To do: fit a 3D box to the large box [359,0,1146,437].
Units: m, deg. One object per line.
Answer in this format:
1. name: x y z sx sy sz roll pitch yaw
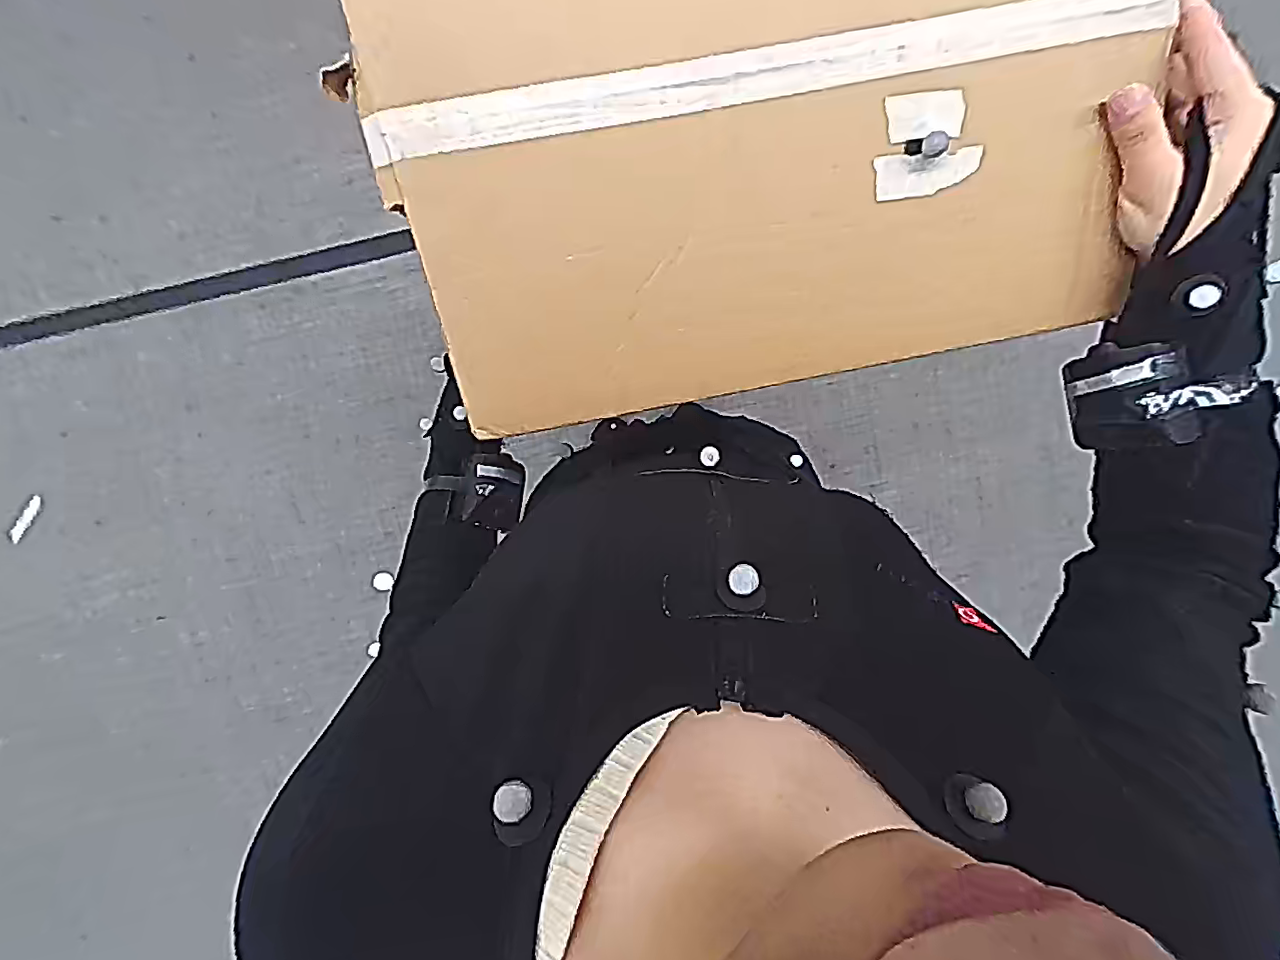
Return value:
1. large box: 0.054 -0.257 0.417 0.408 0.320 0.320 -12 113 -4
